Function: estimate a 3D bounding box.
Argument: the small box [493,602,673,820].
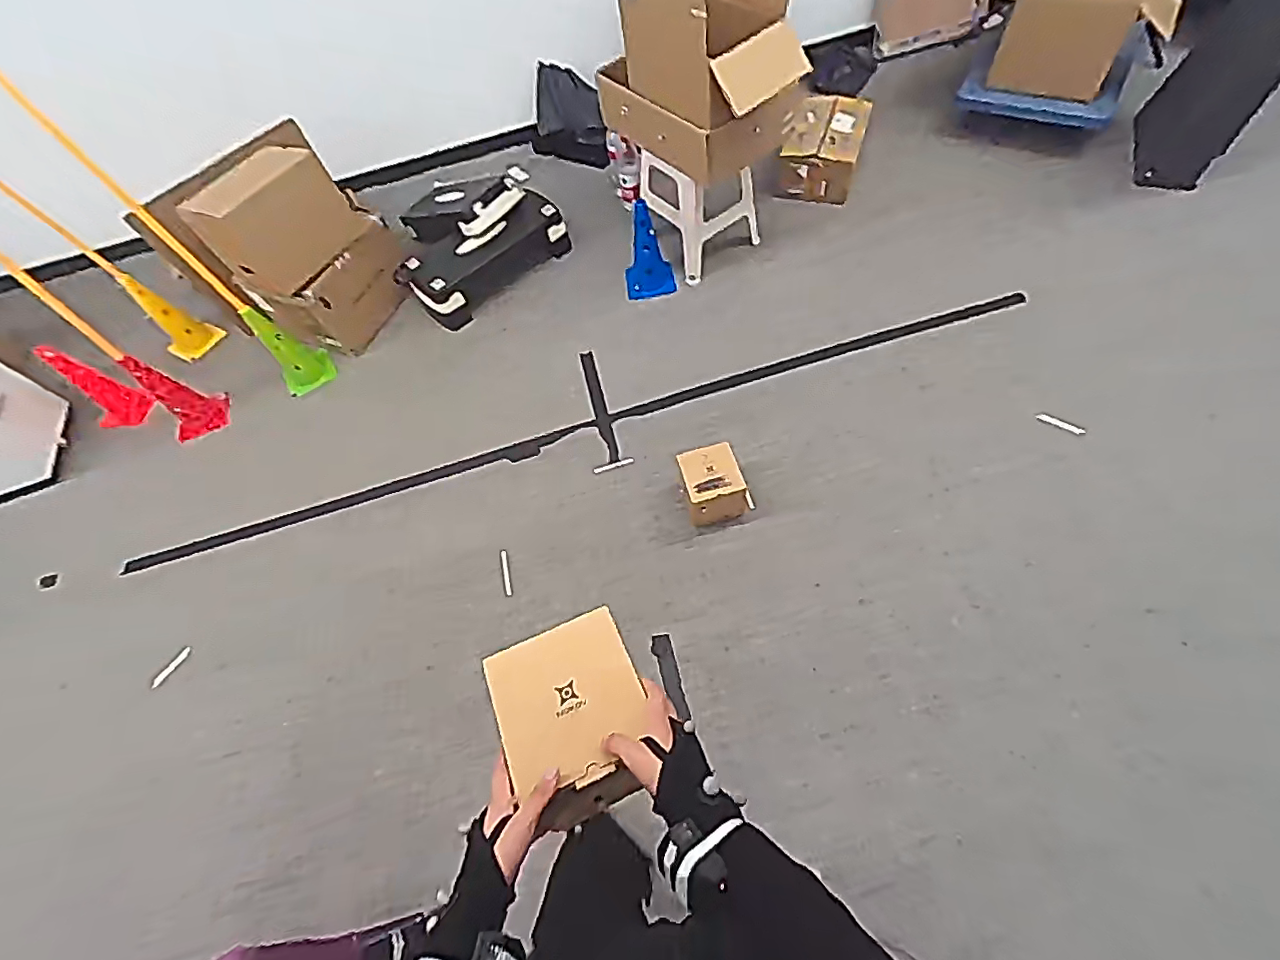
[{"bbox_3d":[-0.067,0.291,0.679,0.168,0.176,0.179,-21,52,-10],"label":"small box"}]
